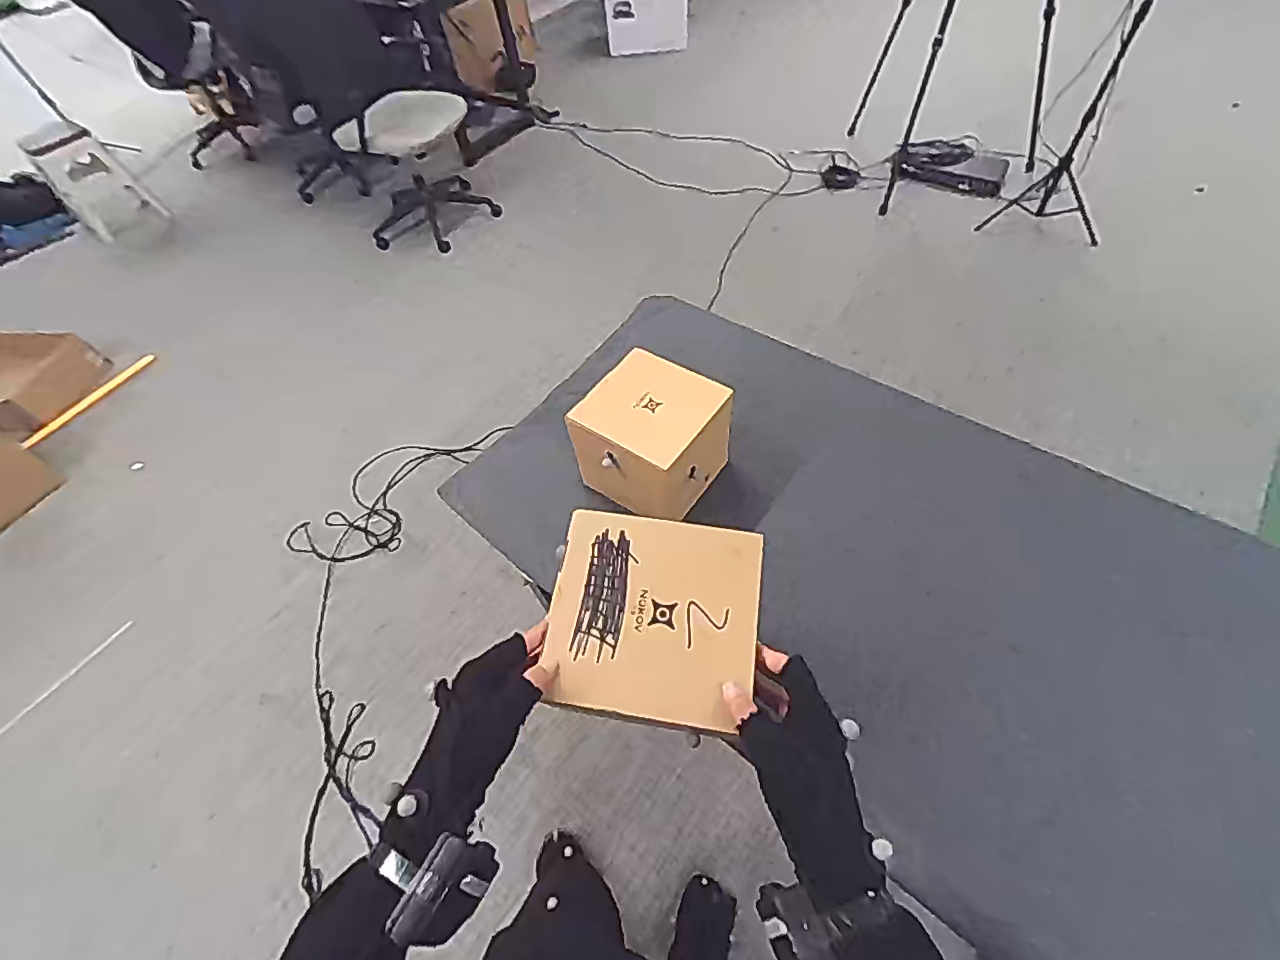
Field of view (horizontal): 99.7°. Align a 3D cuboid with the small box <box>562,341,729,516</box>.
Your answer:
[{"bbox_3d":[0.016,-0.070,0.808,0.179,0.176,0.168,29,64,24],"label":"small box"}]
